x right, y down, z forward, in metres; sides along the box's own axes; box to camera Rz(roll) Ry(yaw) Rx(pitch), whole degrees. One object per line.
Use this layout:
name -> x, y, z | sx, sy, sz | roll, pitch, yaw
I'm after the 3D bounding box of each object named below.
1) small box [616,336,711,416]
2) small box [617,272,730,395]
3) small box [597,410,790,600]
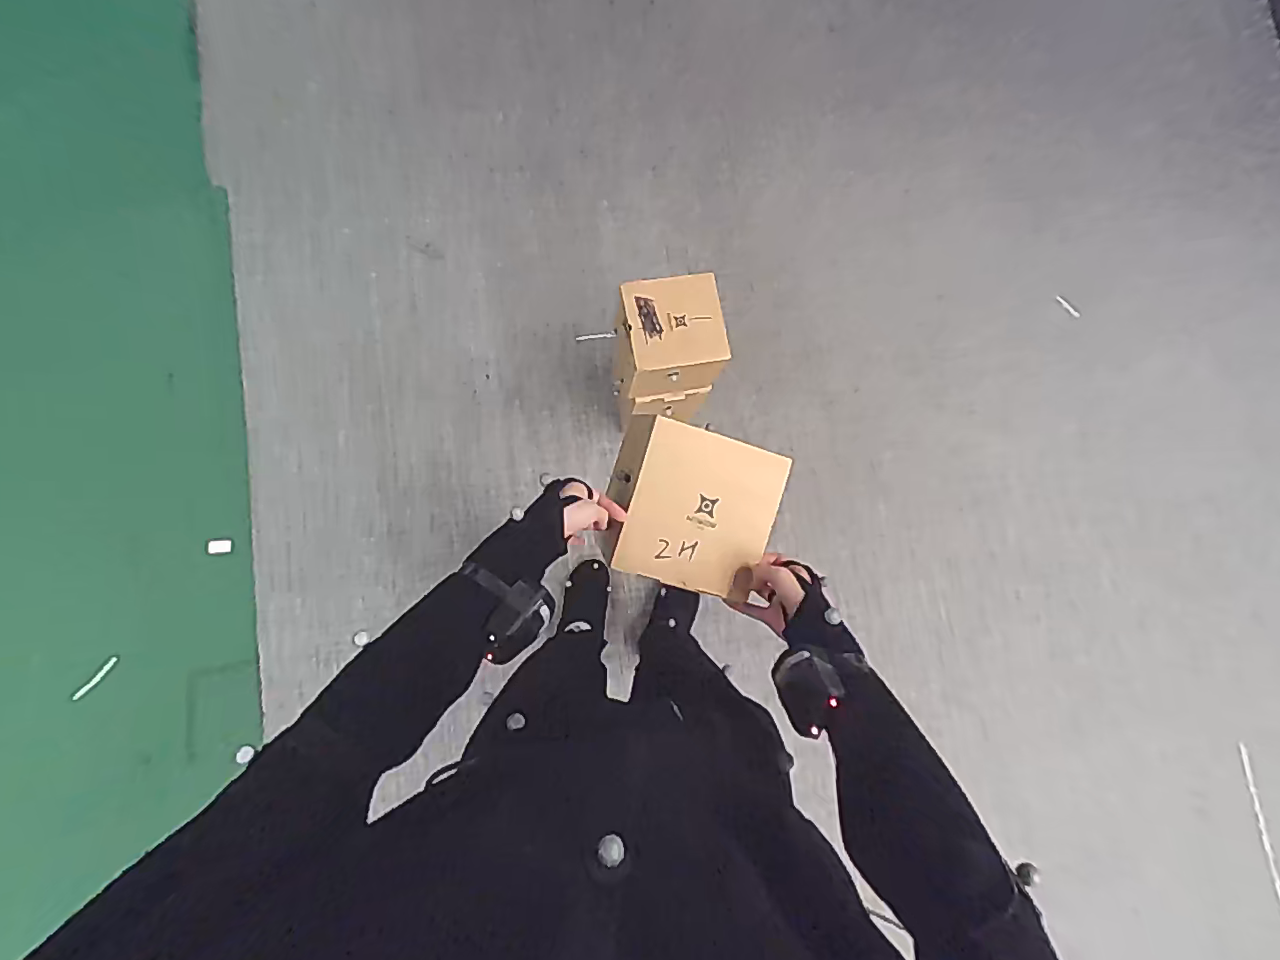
small box -> 0.045, -0.244, 1.188 | 0.168, 0.176, 0.179 | -10, 85, -8
small box -> 0.054, -0.269, 1.025 | 0.179, 0.176, 0.168 | -9, 84, -8
small box -> 0.052, 0.022, 0.666 | 0.168, 0.176, 0.179 | 17, 93, -12
